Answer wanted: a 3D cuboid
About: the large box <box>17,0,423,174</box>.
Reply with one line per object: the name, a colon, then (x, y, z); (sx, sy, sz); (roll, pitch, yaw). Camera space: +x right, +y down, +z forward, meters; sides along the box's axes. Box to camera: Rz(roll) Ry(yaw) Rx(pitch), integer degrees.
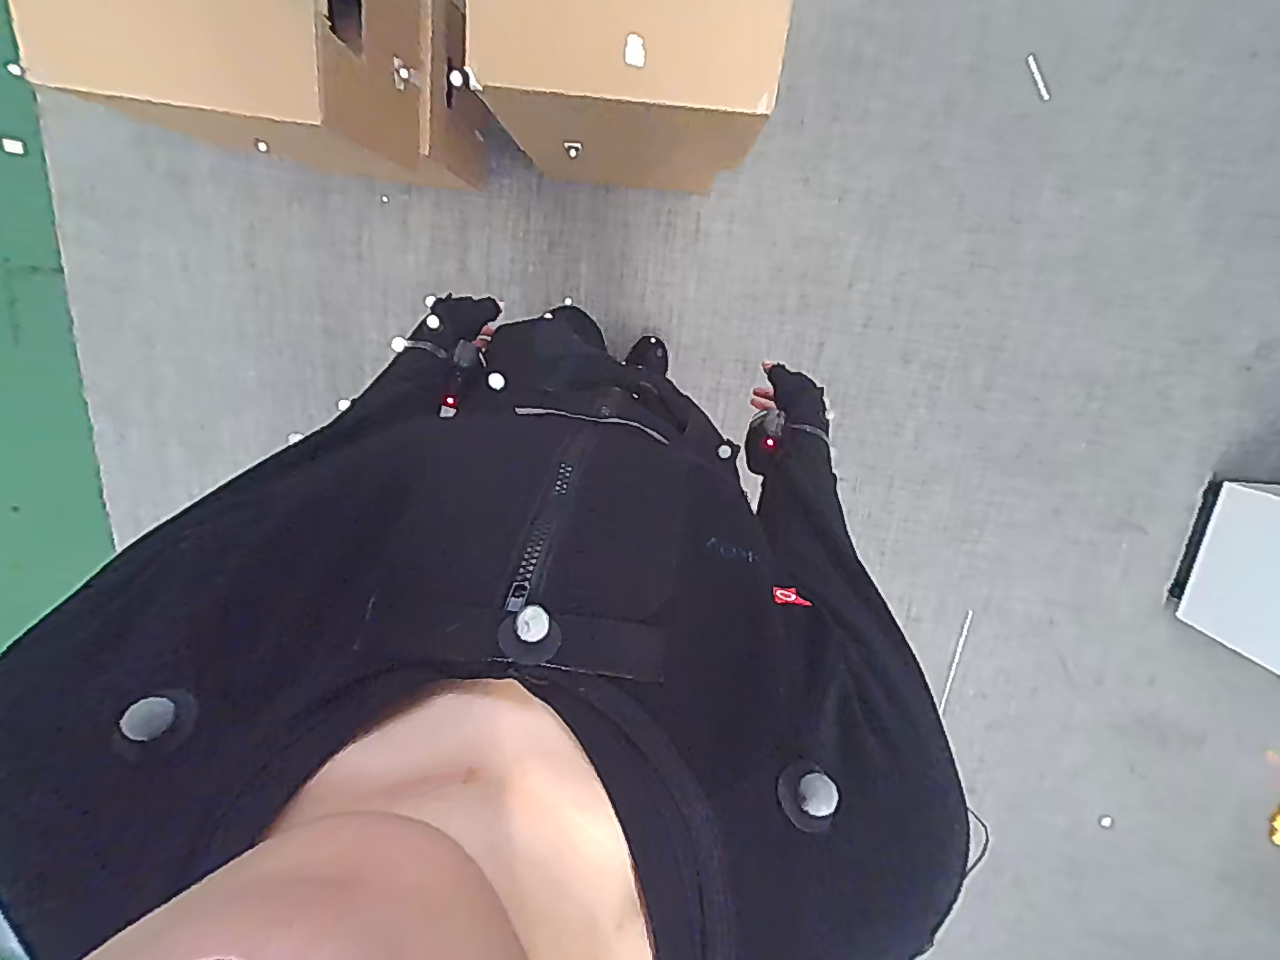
large box: (-0.588, -0.687, 0.821); (0.408, 0.320, 0.320); (9, 108, 1)
